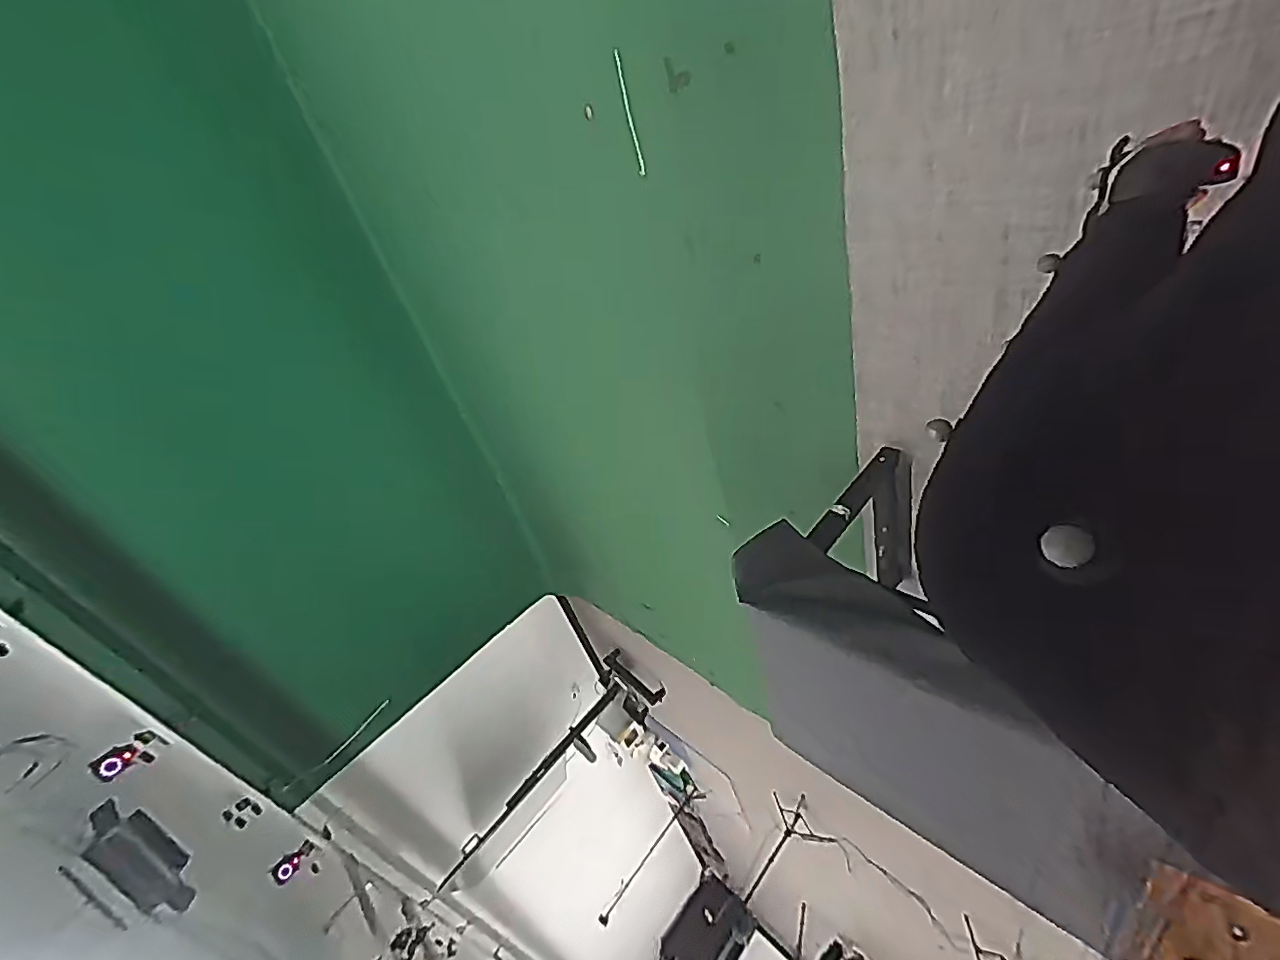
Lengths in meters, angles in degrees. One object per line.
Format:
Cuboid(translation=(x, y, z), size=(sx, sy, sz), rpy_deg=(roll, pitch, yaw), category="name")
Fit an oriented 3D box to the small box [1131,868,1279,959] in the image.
Cuboid(translation=(0.841, 0.721, 0.774), size=(0.168, 0.176, 0.179), rpy_deg=(3, 125, 55), category="small box")
